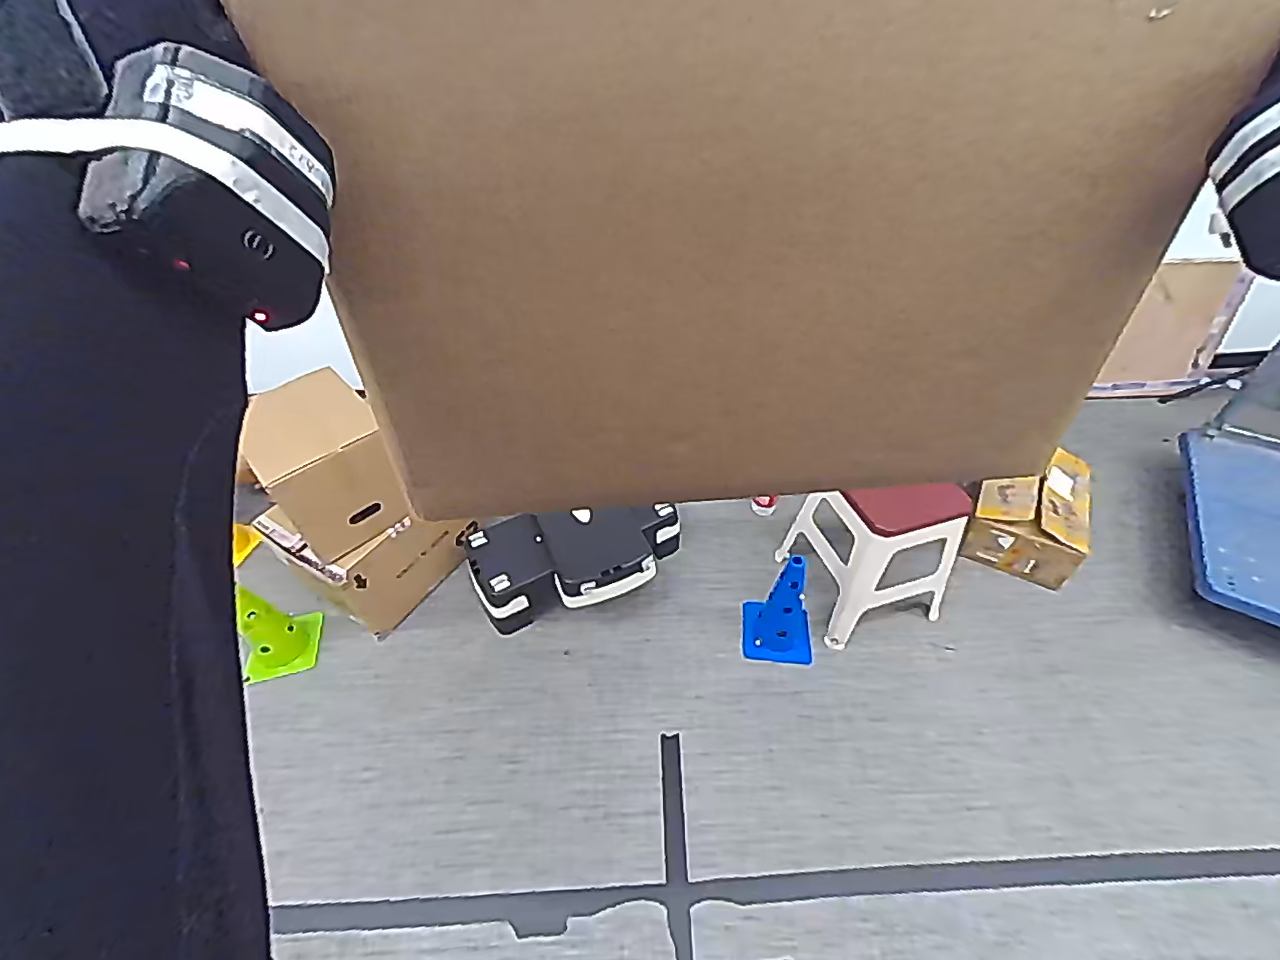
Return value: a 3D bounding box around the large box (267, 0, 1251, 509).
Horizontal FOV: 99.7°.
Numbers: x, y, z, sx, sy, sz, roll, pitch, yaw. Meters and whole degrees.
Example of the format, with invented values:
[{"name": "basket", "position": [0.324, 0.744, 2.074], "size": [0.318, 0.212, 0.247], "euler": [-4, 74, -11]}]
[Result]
[{"name": "large box", "position": [0.044, -0.202, 0.377], "size": [0.408, 0.320, 0.320], "euler": [-4, 38, -5]}]
